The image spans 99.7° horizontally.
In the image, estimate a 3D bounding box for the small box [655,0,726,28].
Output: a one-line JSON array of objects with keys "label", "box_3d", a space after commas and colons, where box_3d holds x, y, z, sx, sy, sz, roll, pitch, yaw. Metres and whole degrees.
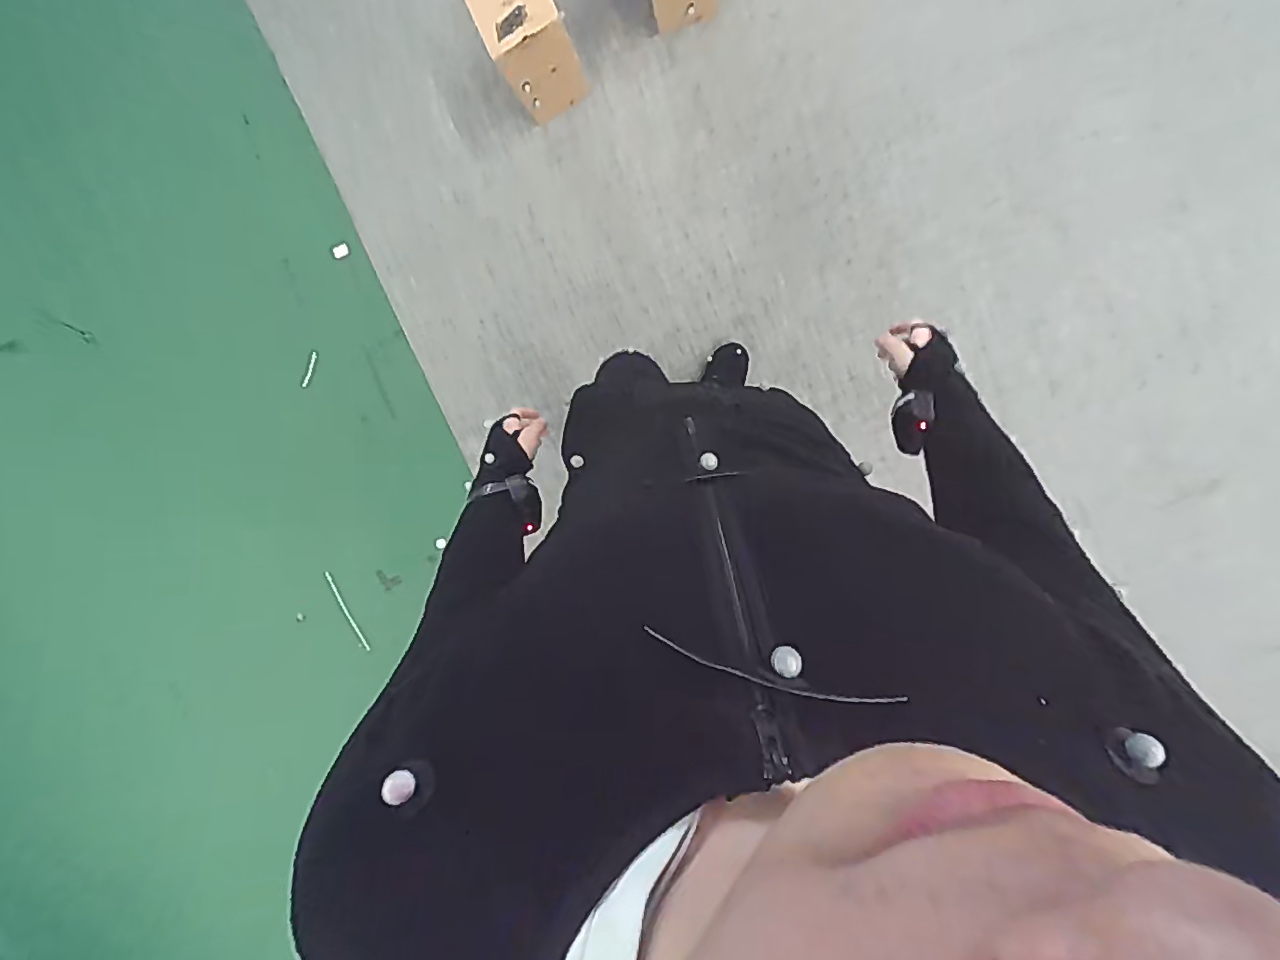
[{"label": "small box", "box_3d": [0.108, -1.203, 1.257, 0.168, 0.176, 0.179, -13, 103, 9]}]

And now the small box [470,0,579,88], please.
[{"label": "small box", "box_3d": [-0.252, -1.002, 1.179, 0.168, 0.176, 0.179, -23, 99, 11]}]
